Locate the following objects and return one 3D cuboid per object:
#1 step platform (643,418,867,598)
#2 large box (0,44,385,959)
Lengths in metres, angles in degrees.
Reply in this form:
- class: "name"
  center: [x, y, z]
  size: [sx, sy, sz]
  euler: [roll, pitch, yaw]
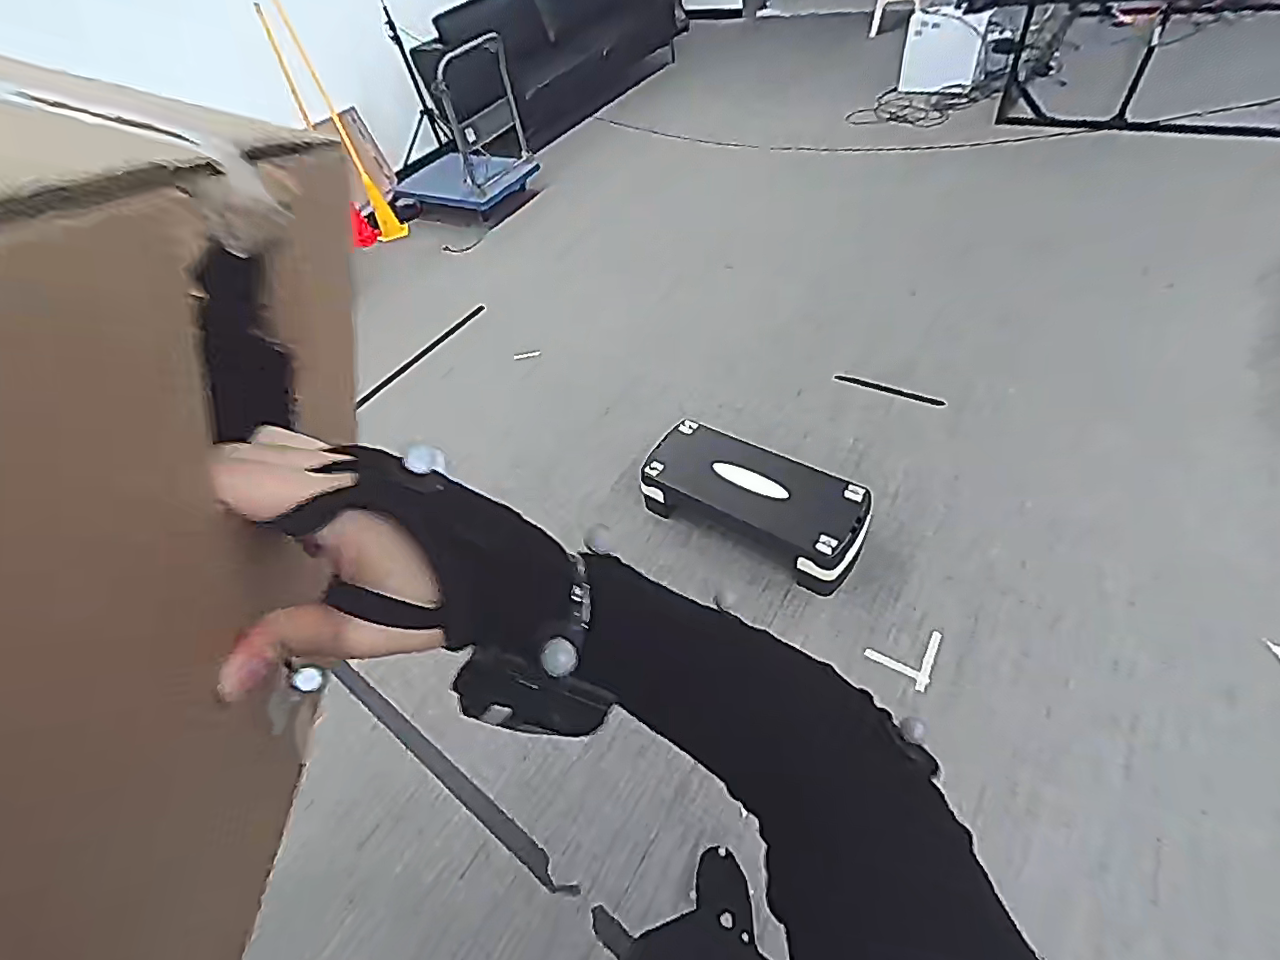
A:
- class: "step platform"
  center: [0.332, 0.056, 1.676]
  size: [0.684, 0.204, 0.286]
  euler: [30, 63, 32]
- class: "large box"
  center: [-0.337, 0.009, 0.191]
  size: [0.408, 0.320, 0.320]
  euler: [5, 31, -15]
